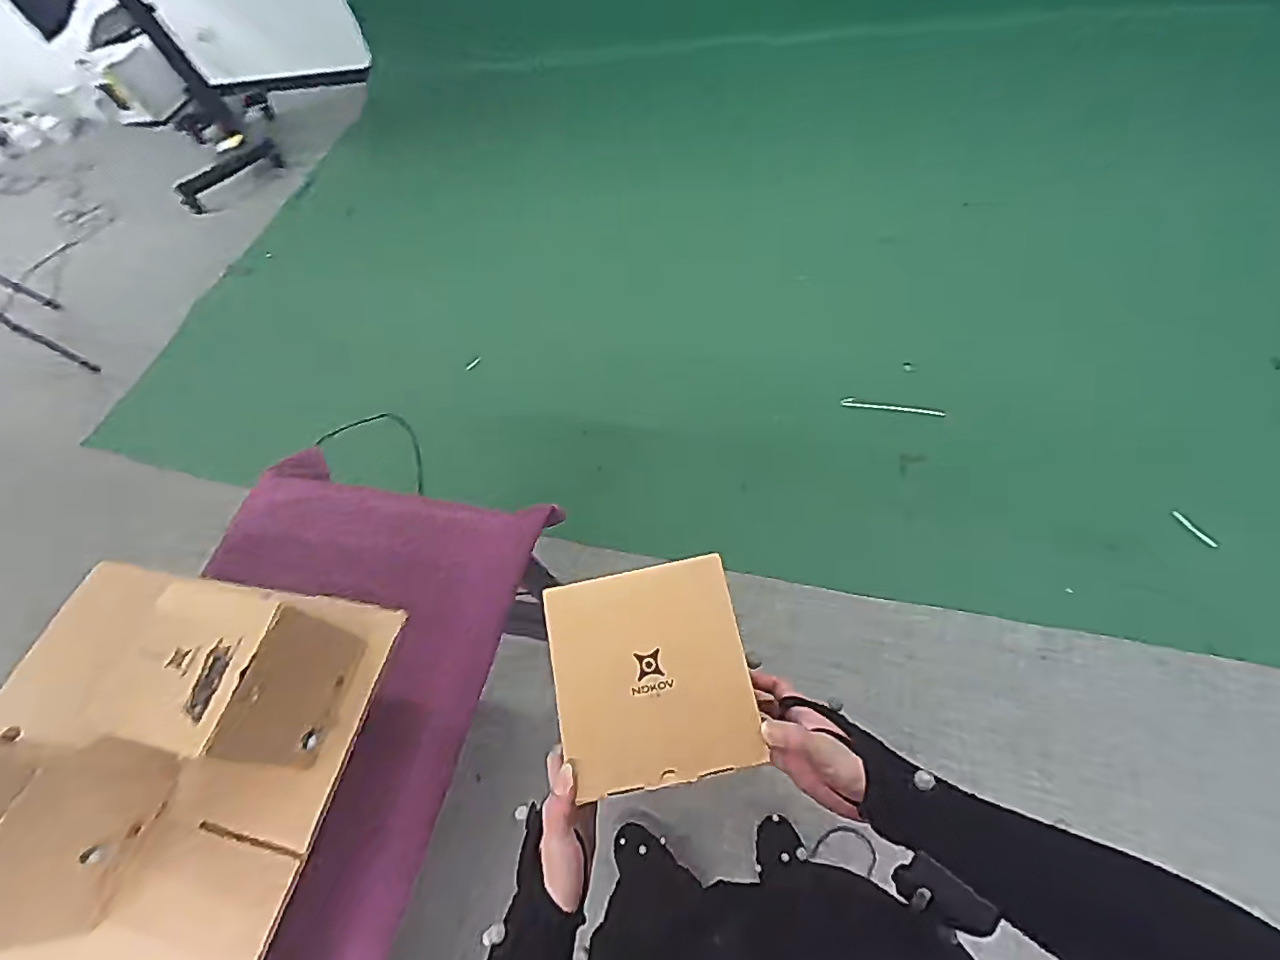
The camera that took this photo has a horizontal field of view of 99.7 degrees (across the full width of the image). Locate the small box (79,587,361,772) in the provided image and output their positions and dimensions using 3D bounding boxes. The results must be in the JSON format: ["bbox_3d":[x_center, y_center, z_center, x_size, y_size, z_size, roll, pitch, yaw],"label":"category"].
[{"bbox_3d":[-0.486,0.248,0.660,0.179,0.176,0.168,5,59,15],"label":"small box"}]

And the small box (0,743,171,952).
[{"bbox_3d":[-0.703,0.404,0.603,0.179,0.176,0.168,6,60,14],"label":"small box"}]
